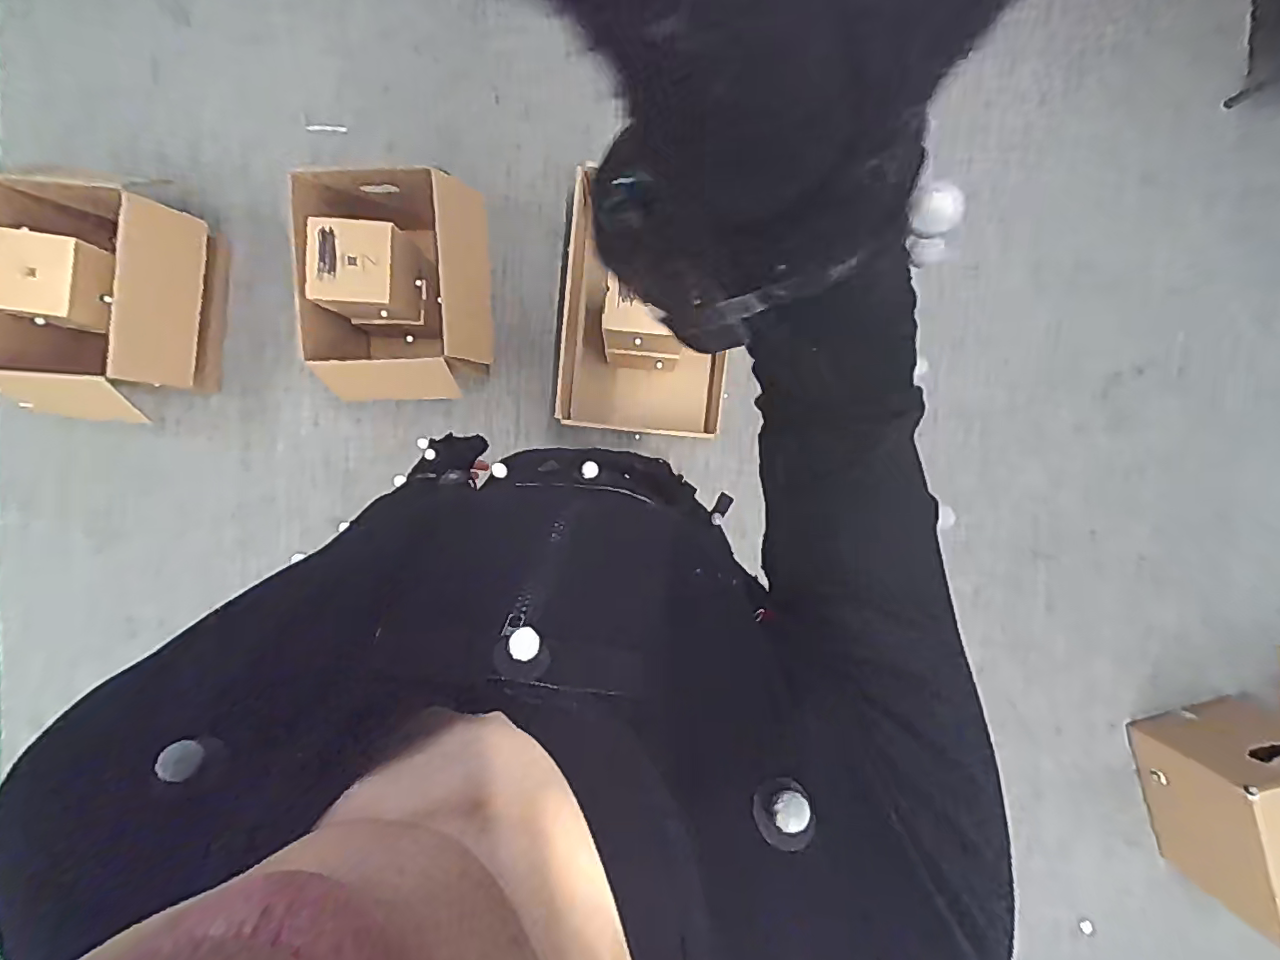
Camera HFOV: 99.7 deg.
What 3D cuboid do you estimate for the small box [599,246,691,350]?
[{"bbox_3d":[0.007,-0.385,1.169,0.179,0.176,0.168,4,91,-2],"label":"small box"}]

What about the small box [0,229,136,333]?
[{"bbox_3d":[-1.261,-0.426,1.180,0.179,0.176,0.168,7,92,-2],"label":"small box"}]
